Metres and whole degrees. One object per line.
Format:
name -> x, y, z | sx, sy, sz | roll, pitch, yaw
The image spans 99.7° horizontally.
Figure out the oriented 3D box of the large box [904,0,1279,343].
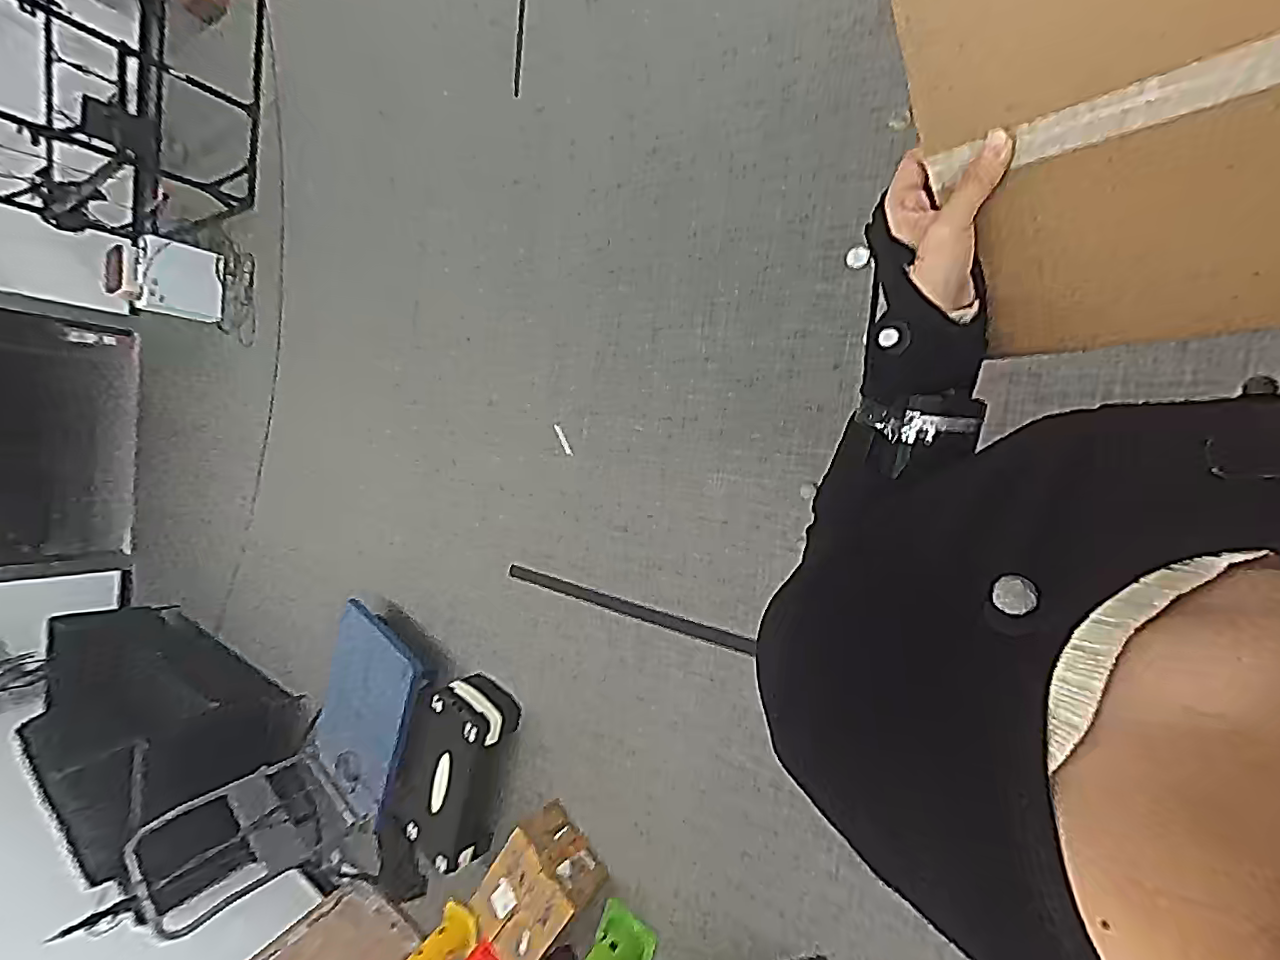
large box -> 0.383, -0.312, 0.251 | 0.408, 0.320, 0.320 | 1, 51, 43
